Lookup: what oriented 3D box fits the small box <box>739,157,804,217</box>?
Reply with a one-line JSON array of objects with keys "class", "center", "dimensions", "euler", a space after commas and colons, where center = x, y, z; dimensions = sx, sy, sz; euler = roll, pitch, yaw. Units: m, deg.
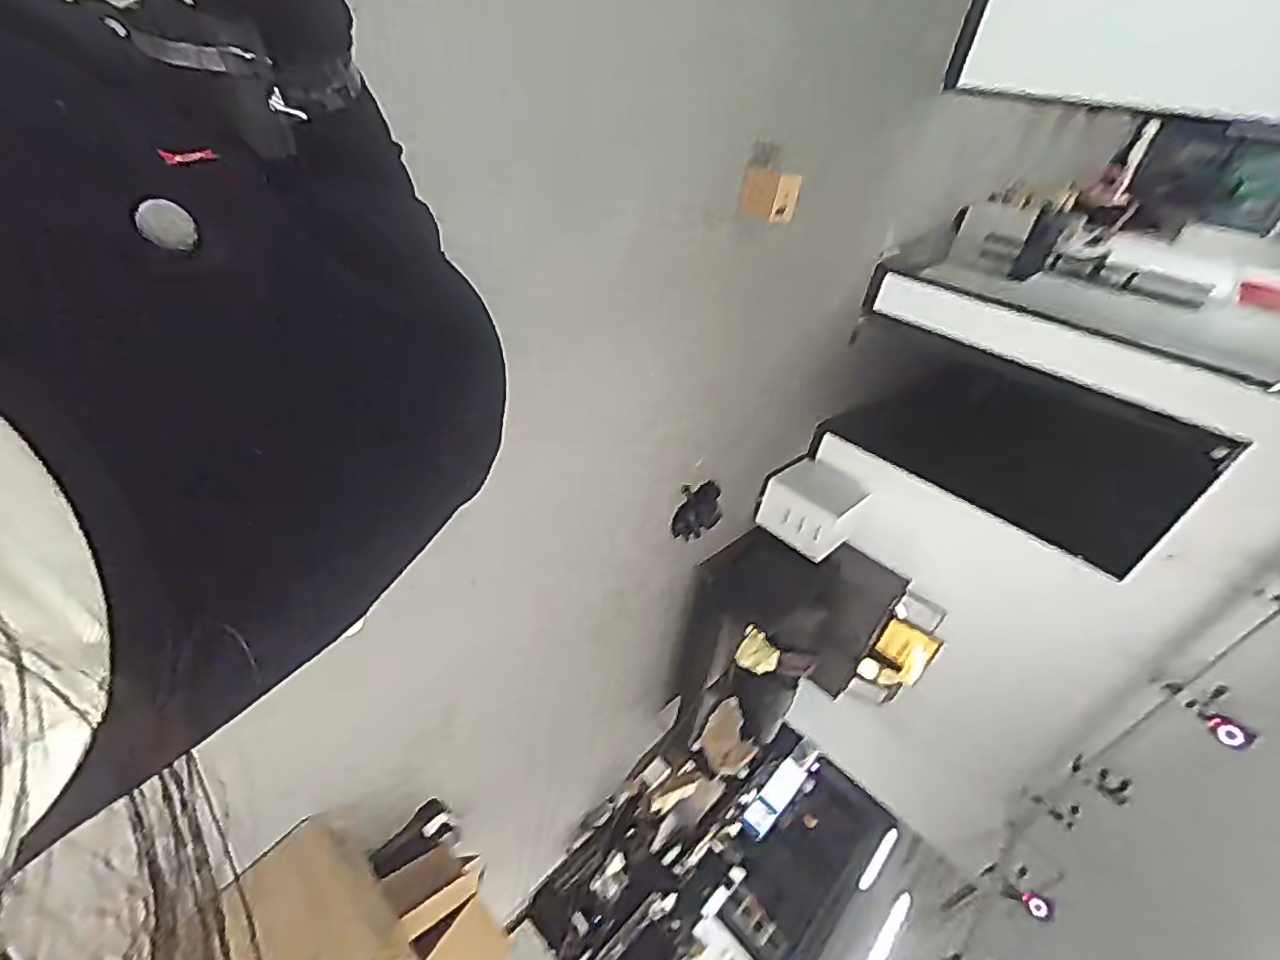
[{"class": "small box", "center": [0.525, -1.181, 2.179], "dimensions": [0.168, 0.176, 0.179], "euler": [-23, 137, -43]}]
